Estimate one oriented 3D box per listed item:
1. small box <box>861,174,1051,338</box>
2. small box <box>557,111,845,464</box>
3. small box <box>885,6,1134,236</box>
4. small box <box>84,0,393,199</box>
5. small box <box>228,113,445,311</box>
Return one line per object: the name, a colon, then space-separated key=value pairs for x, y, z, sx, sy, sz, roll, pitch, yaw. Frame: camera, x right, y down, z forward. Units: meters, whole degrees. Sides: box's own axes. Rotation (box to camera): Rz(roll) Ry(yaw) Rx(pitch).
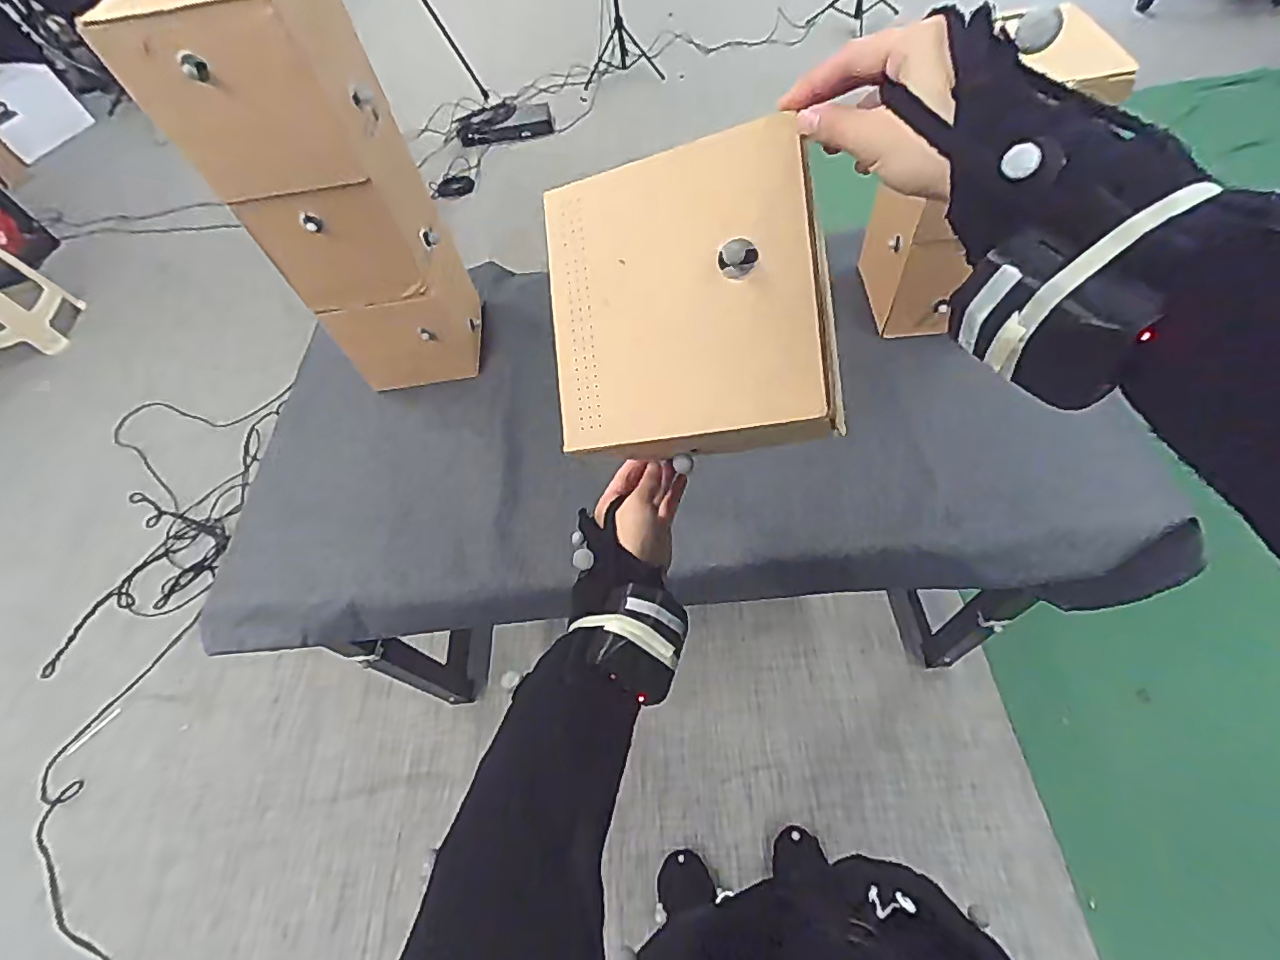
small box: x=0.435 y=-0.331 z=0.784 sx=0.168 sy=0.176 sz=0.179 roll=-4 pitch=59 yaw=6
small box: x=0.051 y=-0.110 z=0.395 sx=0.176 sy=0.168 sz=0.179 roll=-5 pitch=88 yaw=23
small box: x=0.411 y=-0.412 z=0.643 sx=0.168 sy=0.176 sz=0.179 roll=-3 pitch=59 yaw=6
small box: x=-0.398 y=-0.426 z=0.576 sx=0.179 sy=0.176 sz=0.168 roll=-7 pitch=59 yaw=2
small box: x=-0.384 y=-0.348 z=0.720 sx=0.179 sy=0.176 sz=0.168 roll=-8 pitch=59 yaw=1
